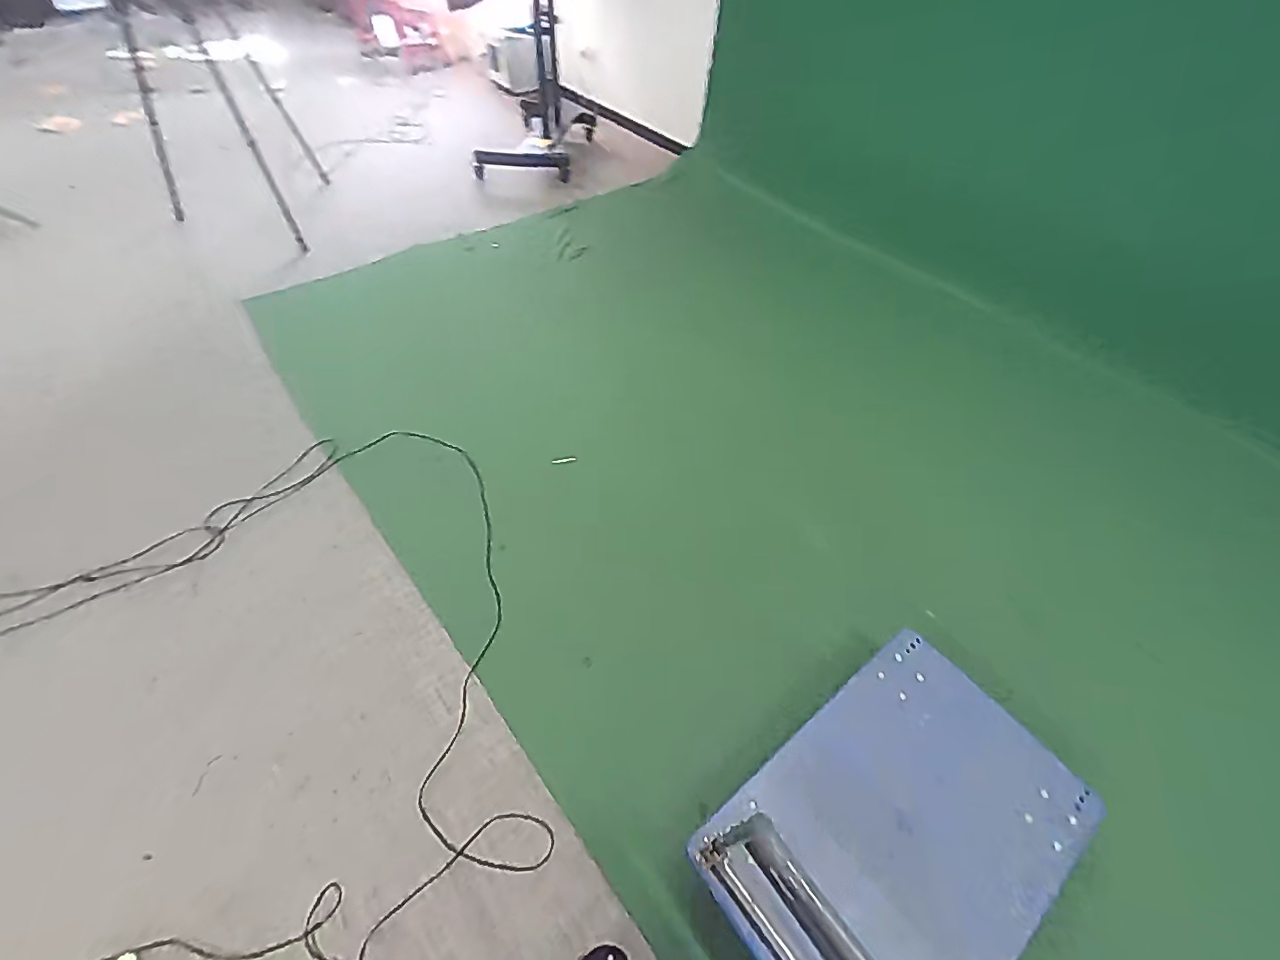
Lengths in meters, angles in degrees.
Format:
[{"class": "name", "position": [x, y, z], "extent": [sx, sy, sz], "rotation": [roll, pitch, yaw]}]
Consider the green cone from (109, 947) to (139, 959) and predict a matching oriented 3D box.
[{"class": "green cone", "position": [-1.104, 1.006, 0.959], "extent": [0.200, 0.368, 0.202], "rotation": [-36, 60, -27]}]
